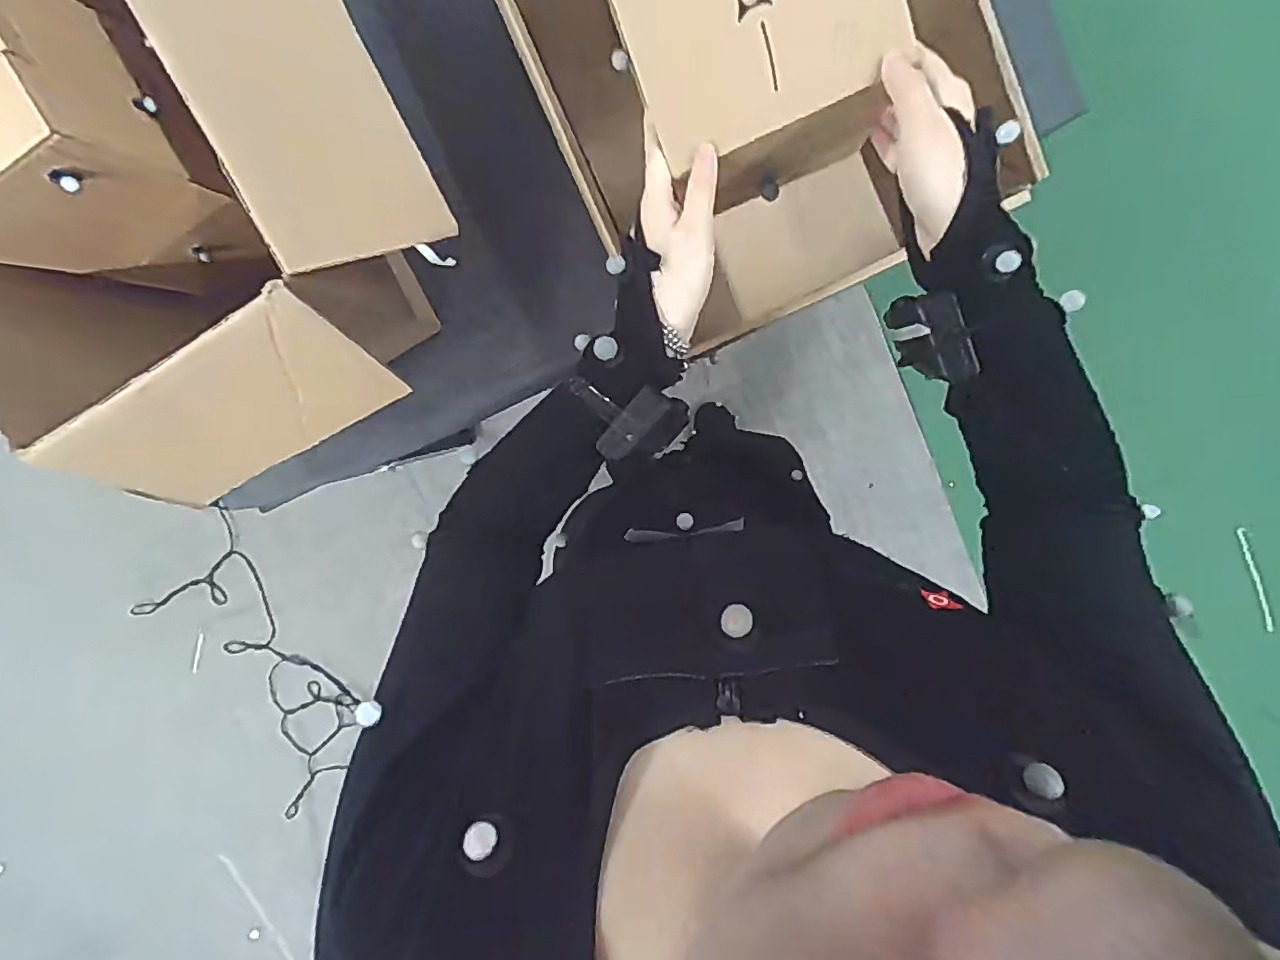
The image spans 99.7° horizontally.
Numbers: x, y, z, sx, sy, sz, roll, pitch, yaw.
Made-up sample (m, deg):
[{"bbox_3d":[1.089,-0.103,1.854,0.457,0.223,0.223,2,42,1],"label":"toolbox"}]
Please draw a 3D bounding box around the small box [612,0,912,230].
[{"bbox_3d":[0.081,-0.327,0.424,0.168,0.176,0.179,-19,100,12],"label":"small box"}]
